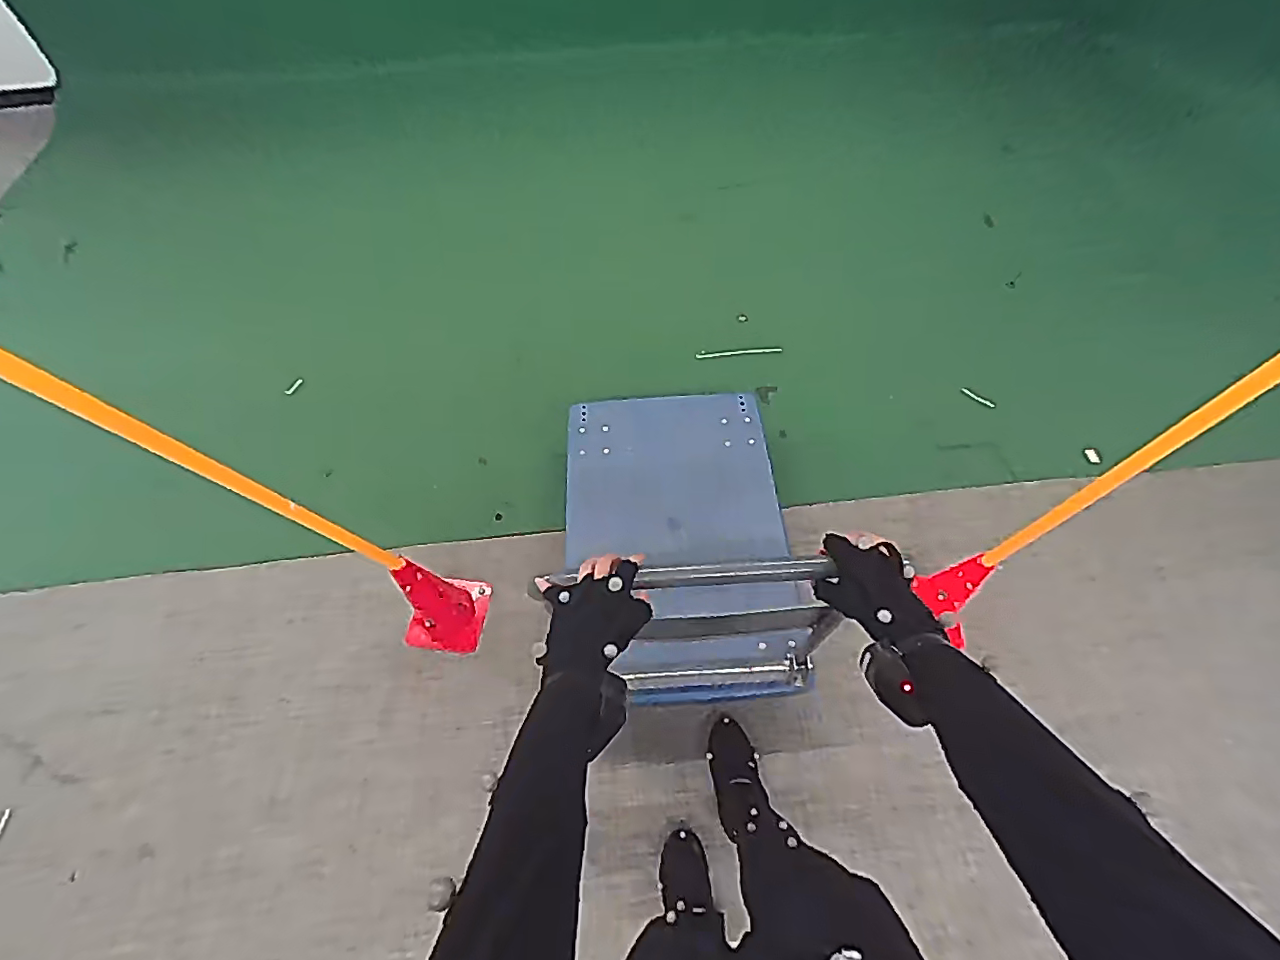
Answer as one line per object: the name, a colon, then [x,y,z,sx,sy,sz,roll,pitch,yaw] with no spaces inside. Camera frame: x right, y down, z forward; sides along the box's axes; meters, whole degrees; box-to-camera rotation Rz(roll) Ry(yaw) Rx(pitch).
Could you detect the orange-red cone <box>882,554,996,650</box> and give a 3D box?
orange-red cone: [0.761,0.269,1.323,0.198,0.360,0.199,4,59,5]
